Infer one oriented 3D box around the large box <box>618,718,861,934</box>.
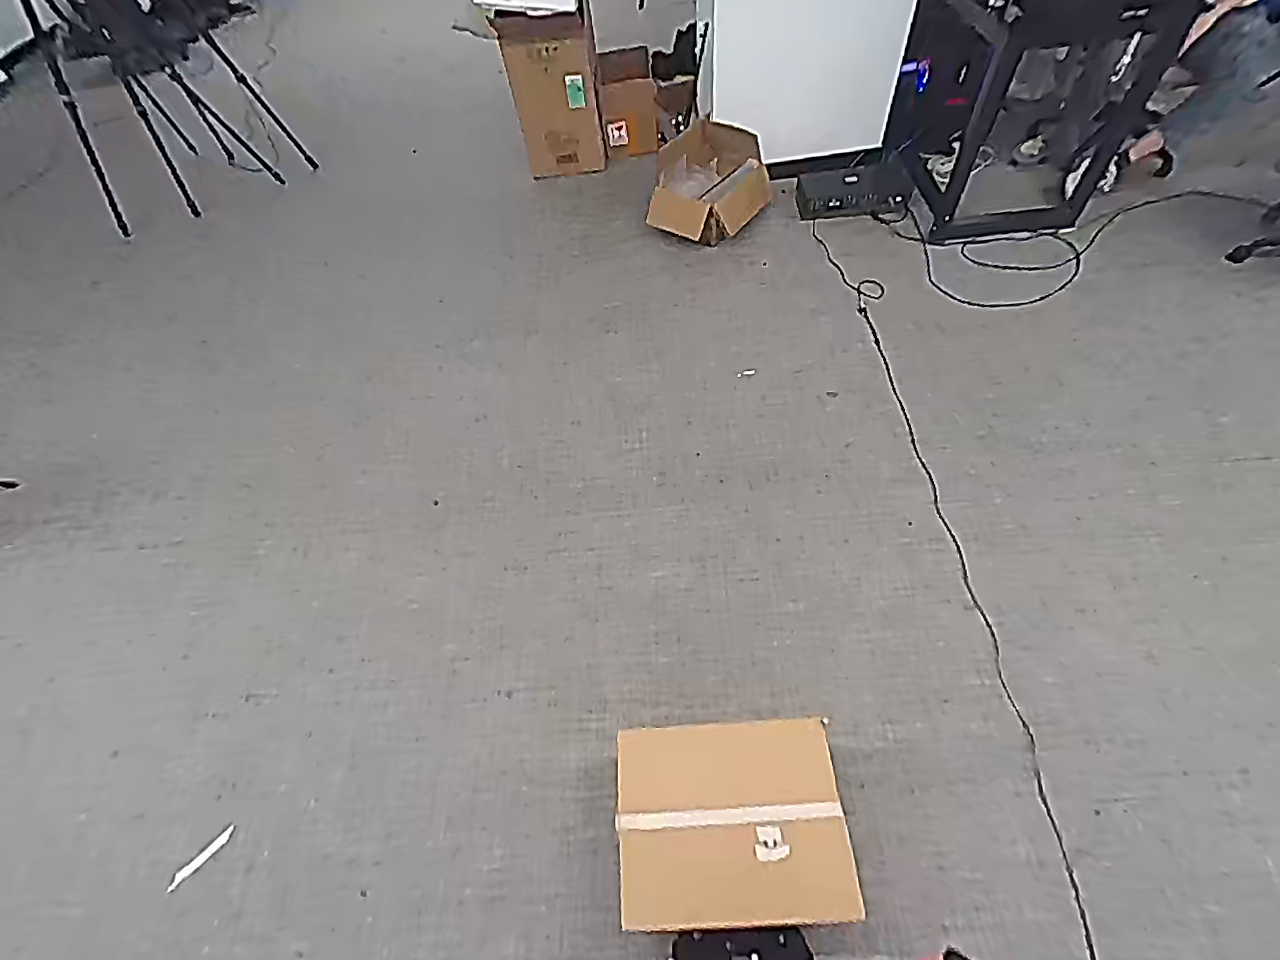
[{"bbox_3d":[0.175,0.702,1.108,0.408,0.320,0.320,-6,55,2],"label":"large box"}]
